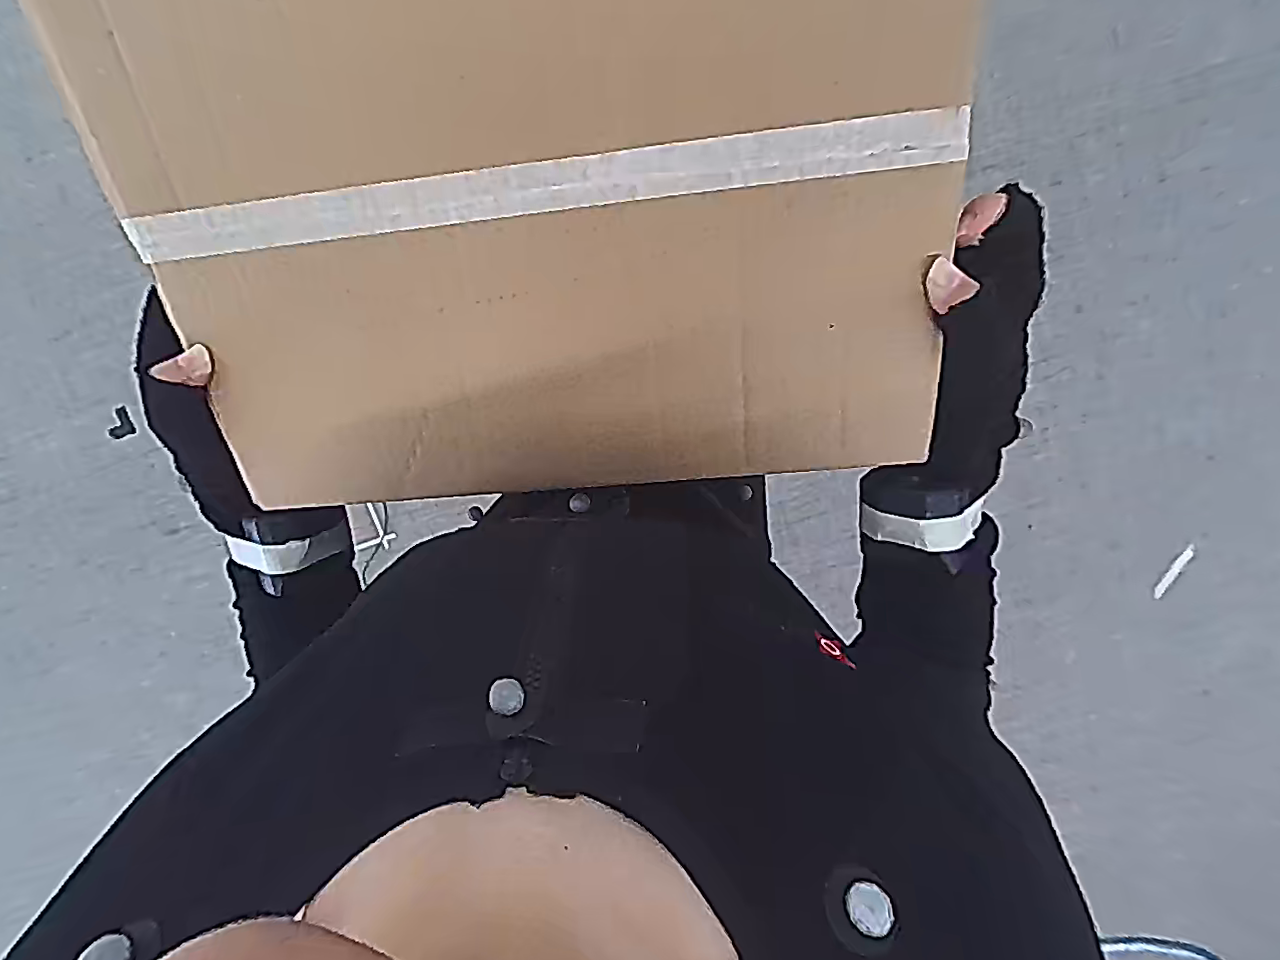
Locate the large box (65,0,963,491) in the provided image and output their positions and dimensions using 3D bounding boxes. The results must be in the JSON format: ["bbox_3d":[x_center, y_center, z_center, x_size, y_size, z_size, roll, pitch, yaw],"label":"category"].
[{"bbox_3d":[-0.049,-0.209,0.402,0.408,0.320,0.320,-5,115,5],"label":"large box"}]
